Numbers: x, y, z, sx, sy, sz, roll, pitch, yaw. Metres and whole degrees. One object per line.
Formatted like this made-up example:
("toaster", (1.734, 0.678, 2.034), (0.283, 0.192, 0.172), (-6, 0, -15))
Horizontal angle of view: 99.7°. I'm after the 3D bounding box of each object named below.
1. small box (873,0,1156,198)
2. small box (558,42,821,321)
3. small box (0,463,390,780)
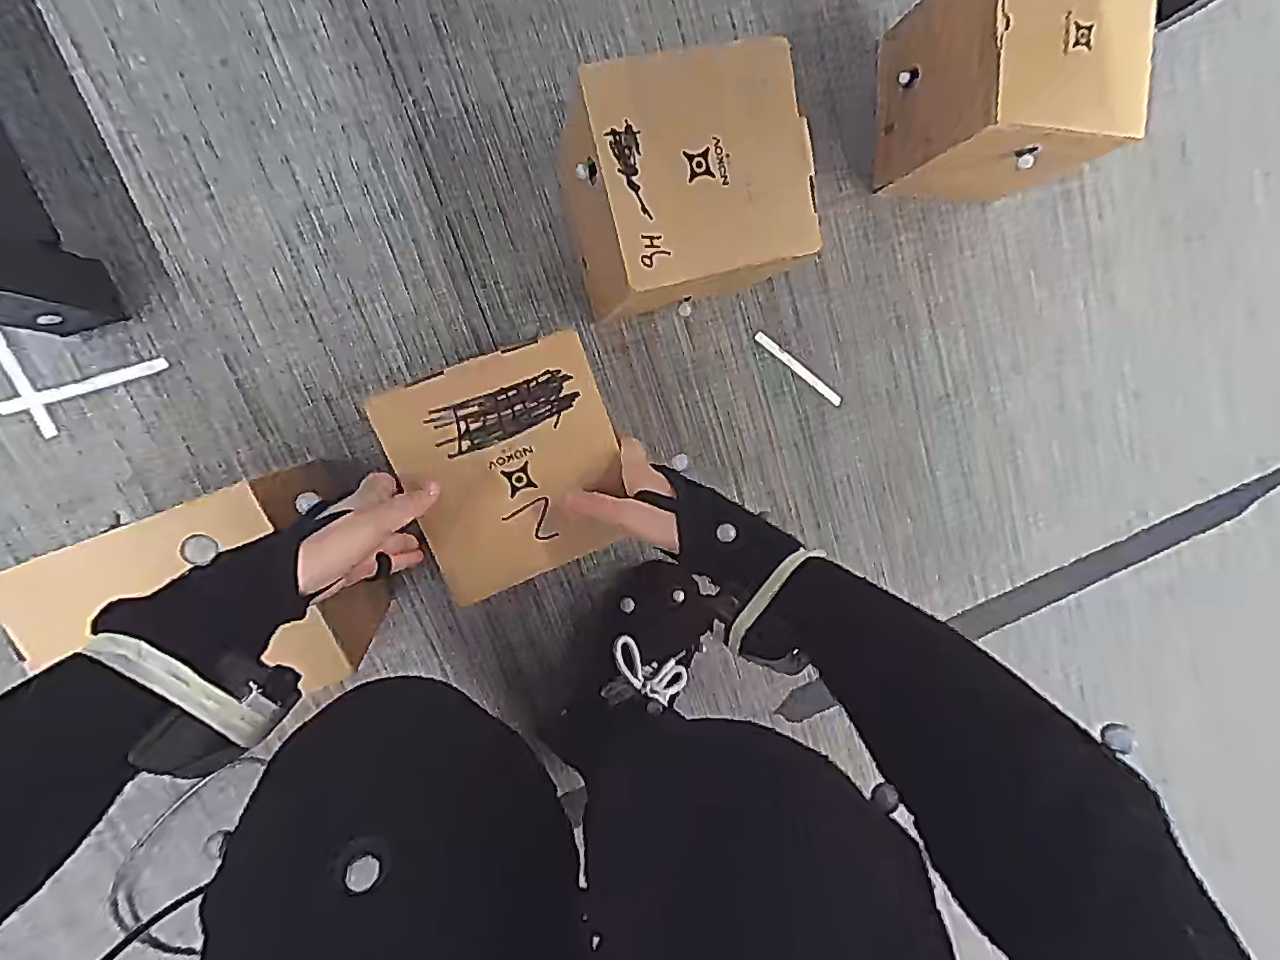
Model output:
("small box", (0.375, -0.411, 0.563), (0.179, 0.176, 0.168), (-4, 99, -13))
("small box", (0.034, -0.255, 0.499), (0.179, 0.176, 0.168), (-17, 101, -11))
("small box", (-0.341, 0.096, 0.456), (0.179, 0.176, 0.168), (-24, 104, -11))
